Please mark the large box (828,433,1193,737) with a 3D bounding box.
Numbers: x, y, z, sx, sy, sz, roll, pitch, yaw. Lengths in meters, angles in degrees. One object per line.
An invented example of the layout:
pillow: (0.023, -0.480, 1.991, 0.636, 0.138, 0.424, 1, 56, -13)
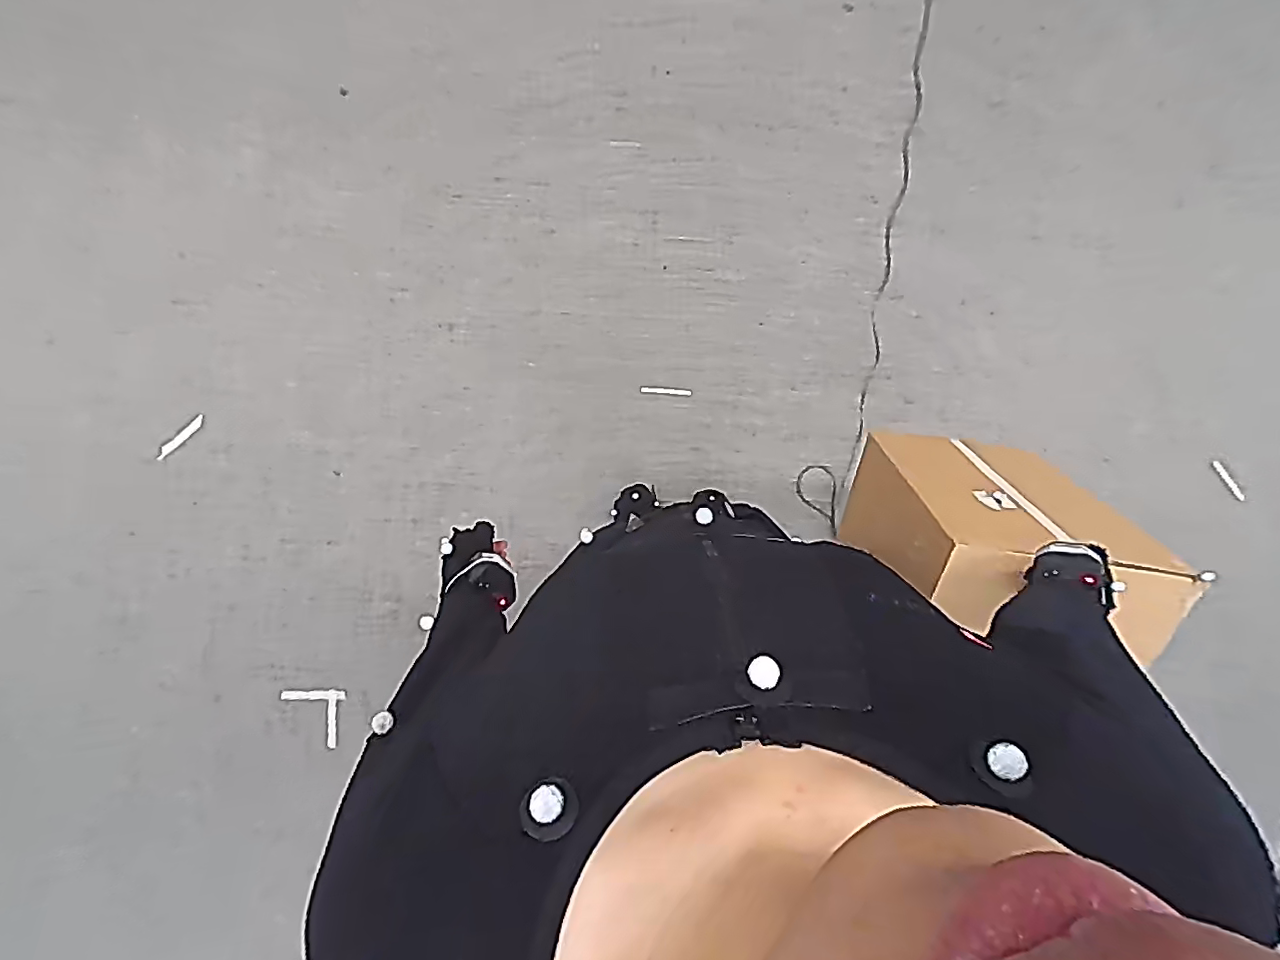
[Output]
large box: (0.557, 0.153, 0.935, 0.320, 0.408, 0.320, 8, 118, 2)
